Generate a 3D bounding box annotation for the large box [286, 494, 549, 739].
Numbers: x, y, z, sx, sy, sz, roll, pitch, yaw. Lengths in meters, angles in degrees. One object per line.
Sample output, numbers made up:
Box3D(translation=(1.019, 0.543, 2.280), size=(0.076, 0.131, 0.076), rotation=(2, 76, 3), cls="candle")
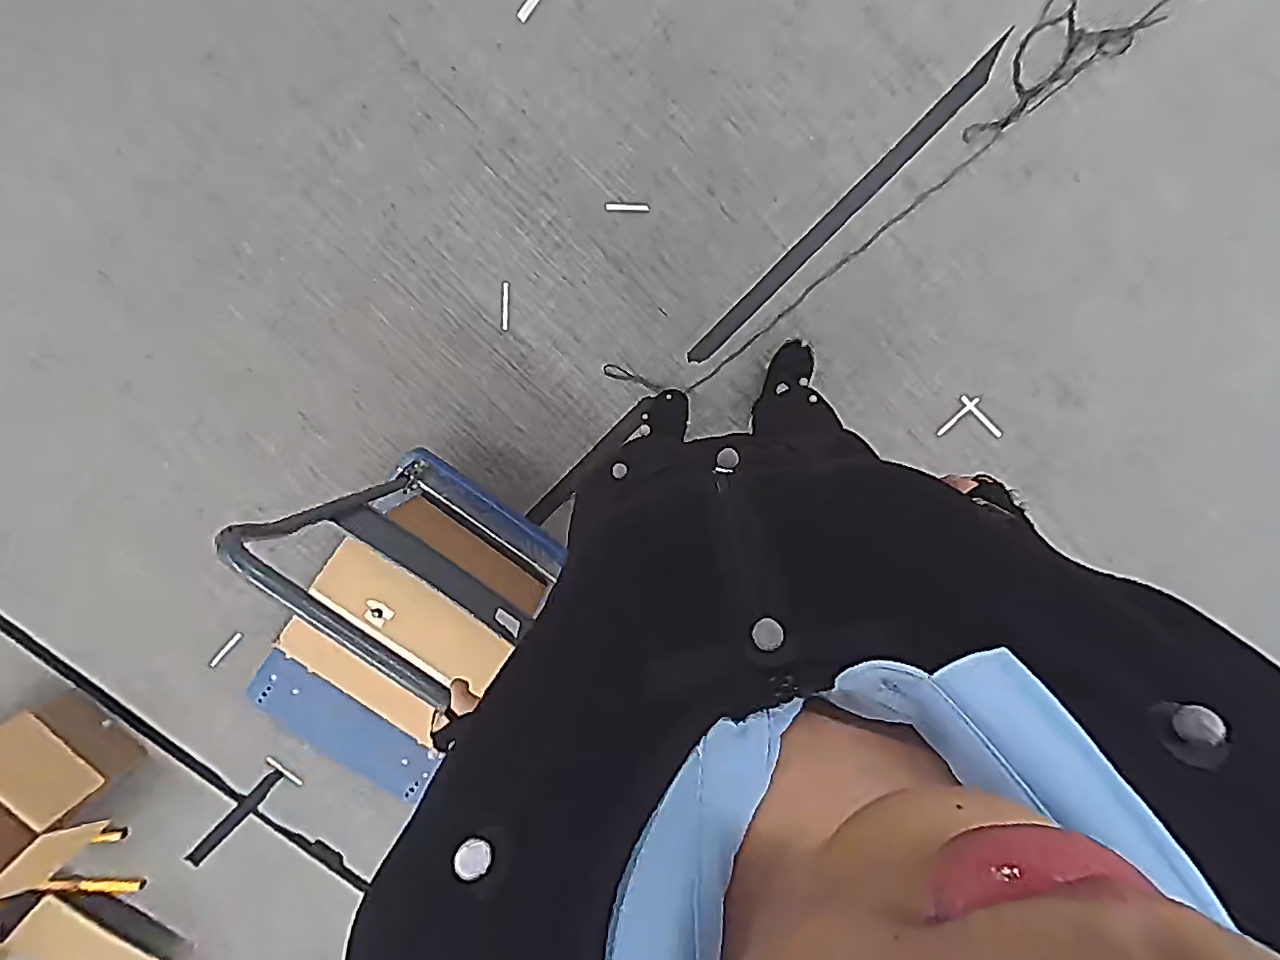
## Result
Box3D(translation=(-0.482, 0.295, 1.256), size=(0.408, 0.320, 0.320), rotation=(37, 100, -5), cls="large box")
